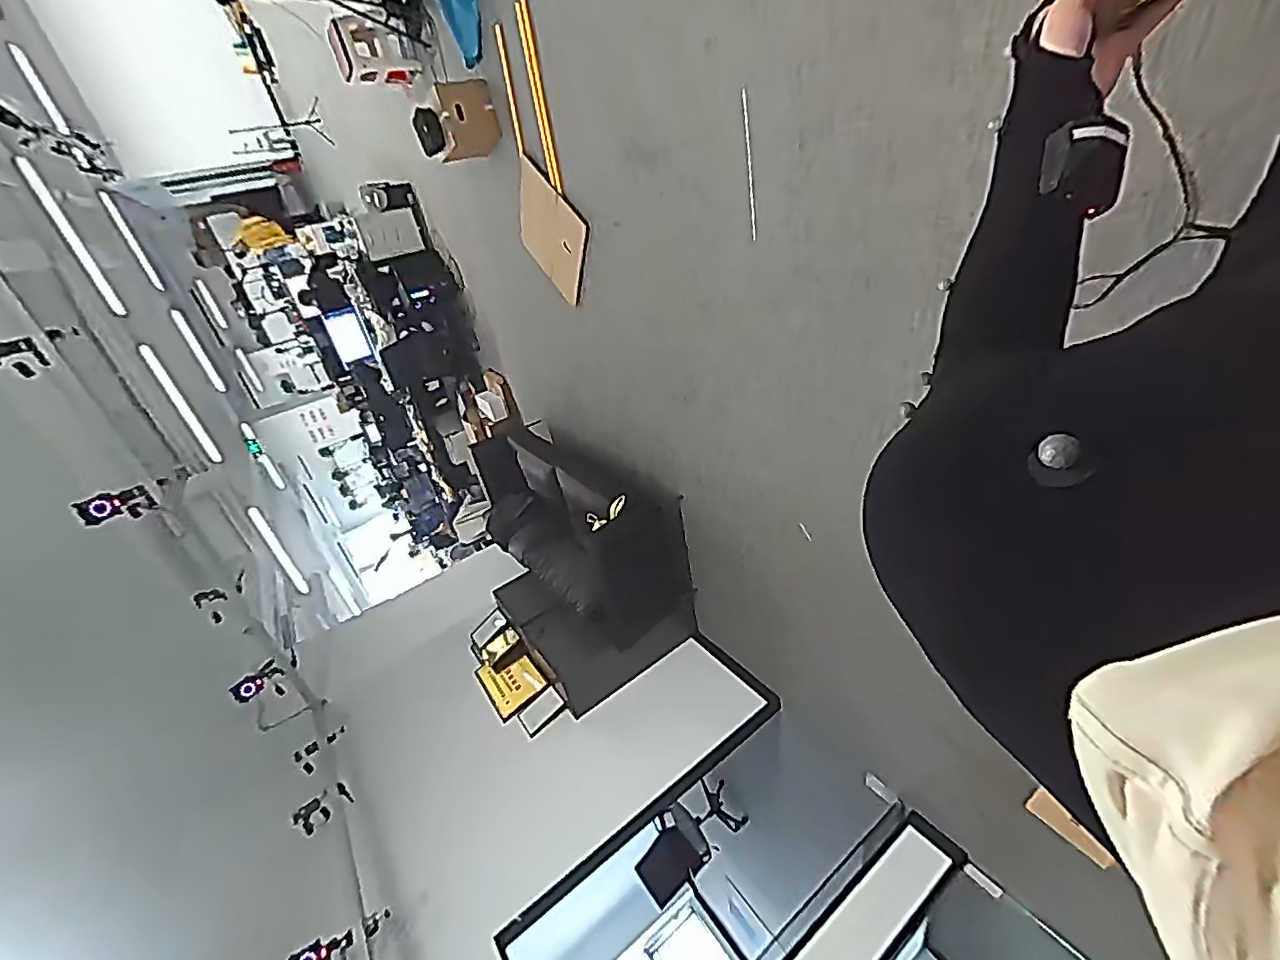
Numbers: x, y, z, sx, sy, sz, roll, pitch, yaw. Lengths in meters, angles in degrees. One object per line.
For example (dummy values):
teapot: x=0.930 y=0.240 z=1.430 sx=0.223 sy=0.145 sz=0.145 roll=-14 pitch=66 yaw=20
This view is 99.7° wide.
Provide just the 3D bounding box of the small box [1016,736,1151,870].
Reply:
small box: x=1.014 y=0.730 z=1.238 sx=0.168 sy=0.176 sz=0.179 roll=37 pitch=146 yaw=43

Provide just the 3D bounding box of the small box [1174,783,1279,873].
small box: x=1.305 y=0.790 z=1.139 sx=0.179 sy=0.176 sz=0.168 roll=38 pitch=146 yaw=42

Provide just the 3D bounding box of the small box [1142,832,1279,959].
small box: x=1.169 y=0.853 z=1.073 sx=0.168 sy=0.176 sz=0.179 roll=38 pitch=145 yaw=43
